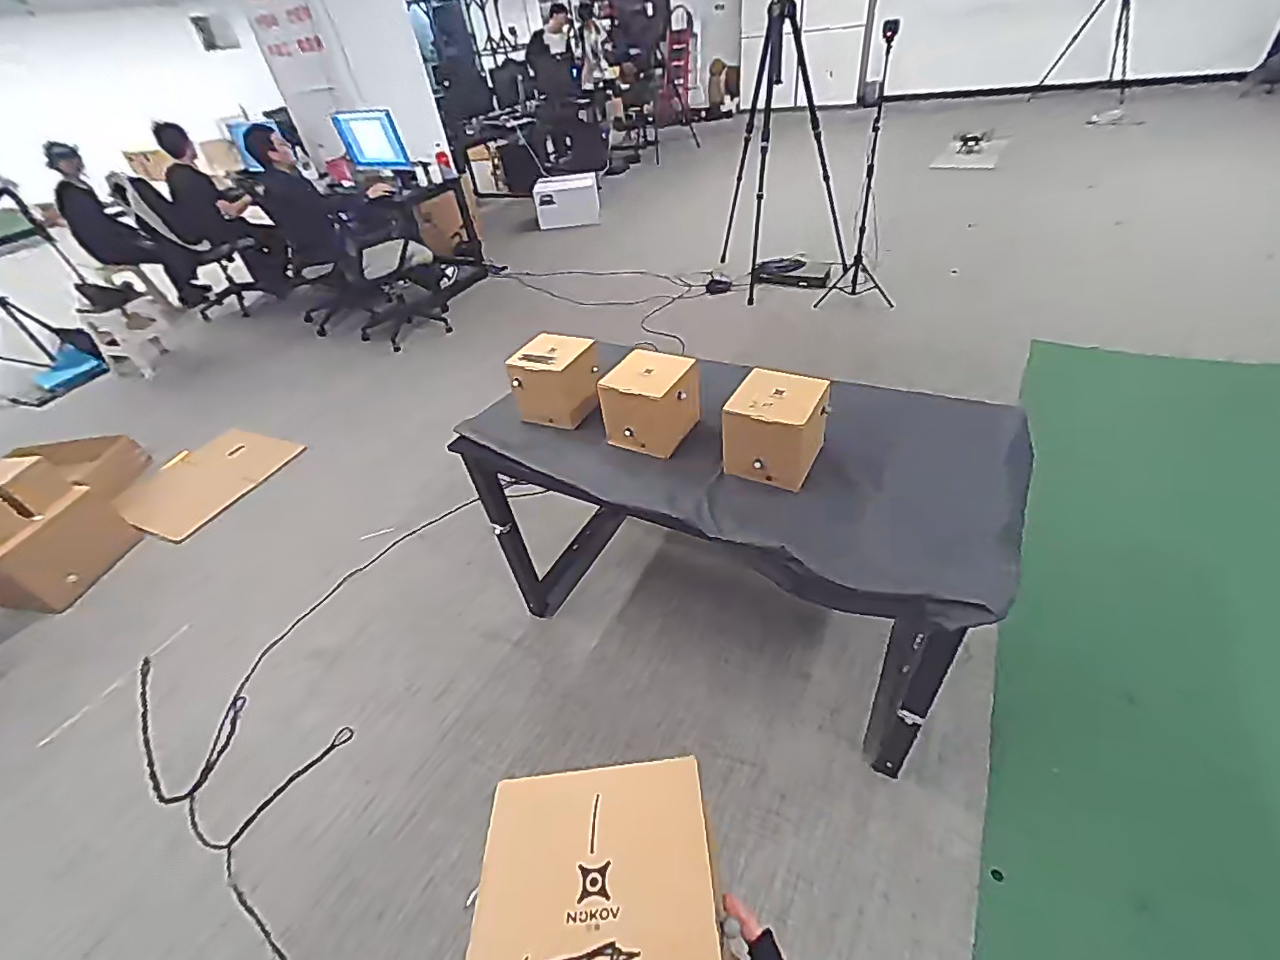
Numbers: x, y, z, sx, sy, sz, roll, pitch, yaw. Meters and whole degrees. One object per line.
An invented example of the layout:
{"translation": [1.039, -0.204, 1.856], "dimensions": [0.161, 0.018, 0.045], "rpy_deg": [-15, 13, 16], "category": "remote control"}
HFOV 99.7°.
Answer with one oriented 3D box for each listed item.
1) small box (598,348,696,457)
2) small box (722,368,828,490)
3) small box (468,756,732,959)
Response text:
{"translation": [0.022, -0.184, 1.268], "dimensions": [0.168, 0.176, 0.179], "rpy_deg": [17, 47, 26], "category": "small box"}
{"translation": [0.281, -0.109, 1.139], "dimensions": [0.168, 0.176, 0.179], "rpy_deg": [17, 47, 27], "category": "small box"}
{"translation": [-0.018, 0.345, 0.412], "dimensions": [0.168, 0.176, 0.179], "rpy_deg": [-8, 34, 4], "category": "small box"}
